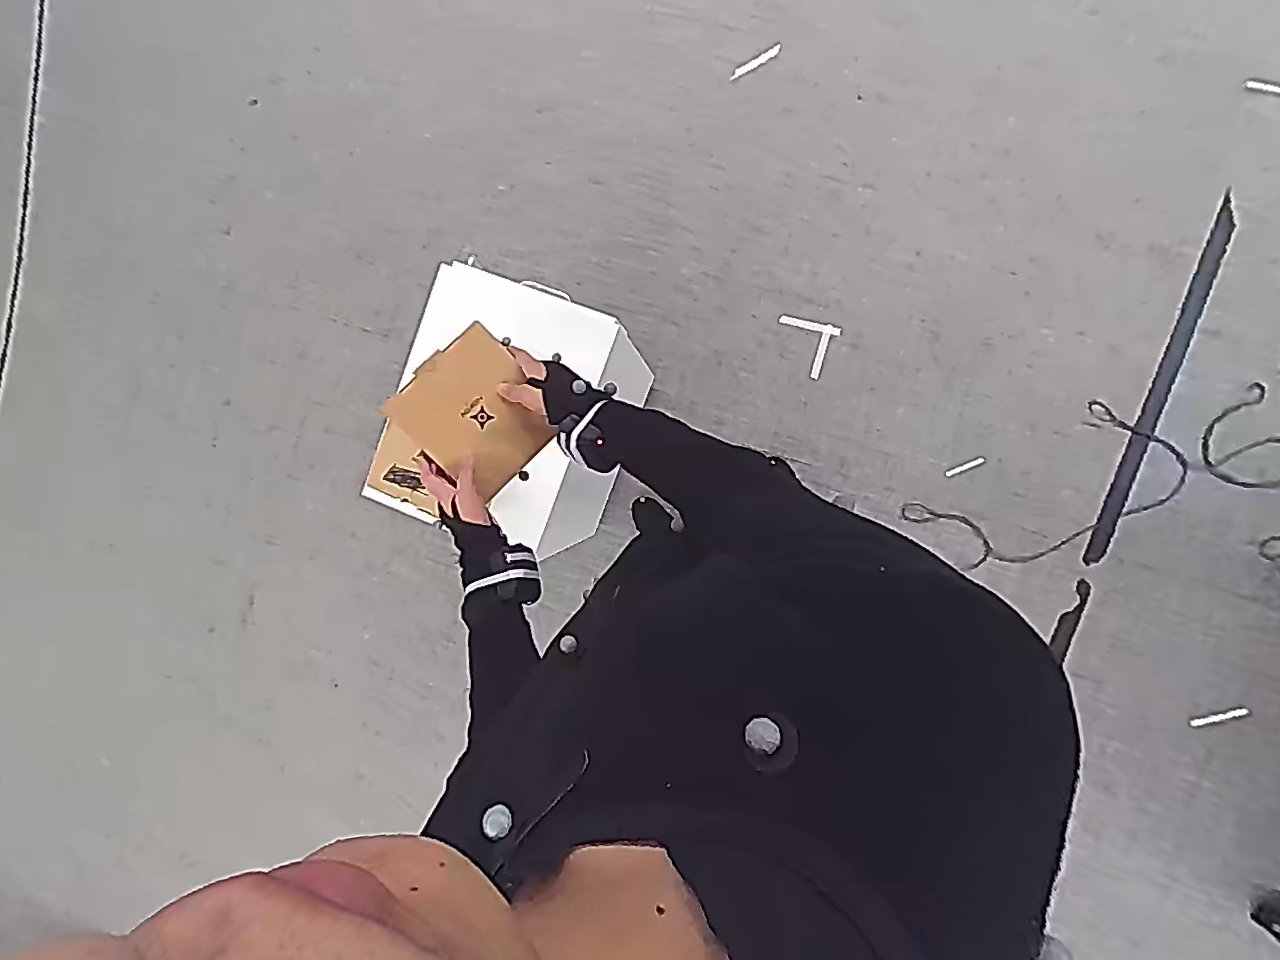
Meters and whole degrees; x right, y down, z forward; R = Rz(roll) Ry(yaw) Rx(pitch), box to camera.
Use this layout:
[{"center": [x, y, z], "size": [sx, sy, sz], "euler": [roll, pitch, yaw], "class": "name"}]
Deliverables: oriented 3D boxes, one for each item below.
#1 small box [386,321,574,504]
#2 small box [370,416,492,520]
[{"center": [-0.211, -0.091, 0.764], "size": [0.168, 0.176, 0.179], "euler": [-44, 98, -4], "class": "small box"}, {"center": [-0.358, -0.040, 1.011], "size": [0.168, 0.176, 0.179], "euler": [22, 93, 7], "class": "small box"}]
